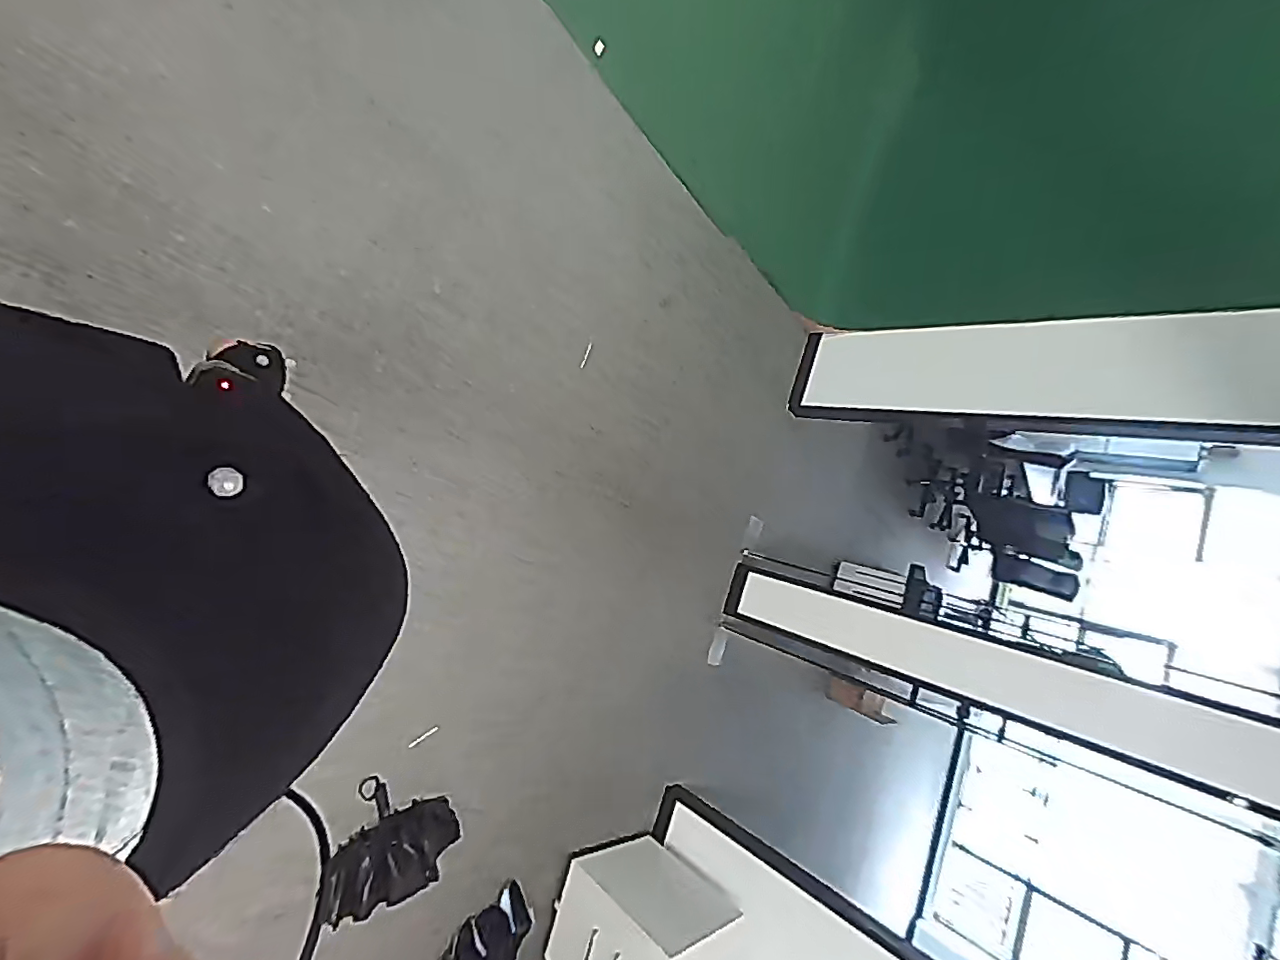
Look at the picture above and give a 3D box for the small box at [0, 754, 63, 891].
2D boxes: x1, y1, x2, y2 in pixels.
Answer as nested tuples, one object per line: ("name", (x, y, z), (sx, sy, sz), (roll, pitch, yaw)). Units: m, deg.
("small box", (-1.243, 0.655, 1.028), (0.168, 0.176, 0.179), (21, 81, -48))
